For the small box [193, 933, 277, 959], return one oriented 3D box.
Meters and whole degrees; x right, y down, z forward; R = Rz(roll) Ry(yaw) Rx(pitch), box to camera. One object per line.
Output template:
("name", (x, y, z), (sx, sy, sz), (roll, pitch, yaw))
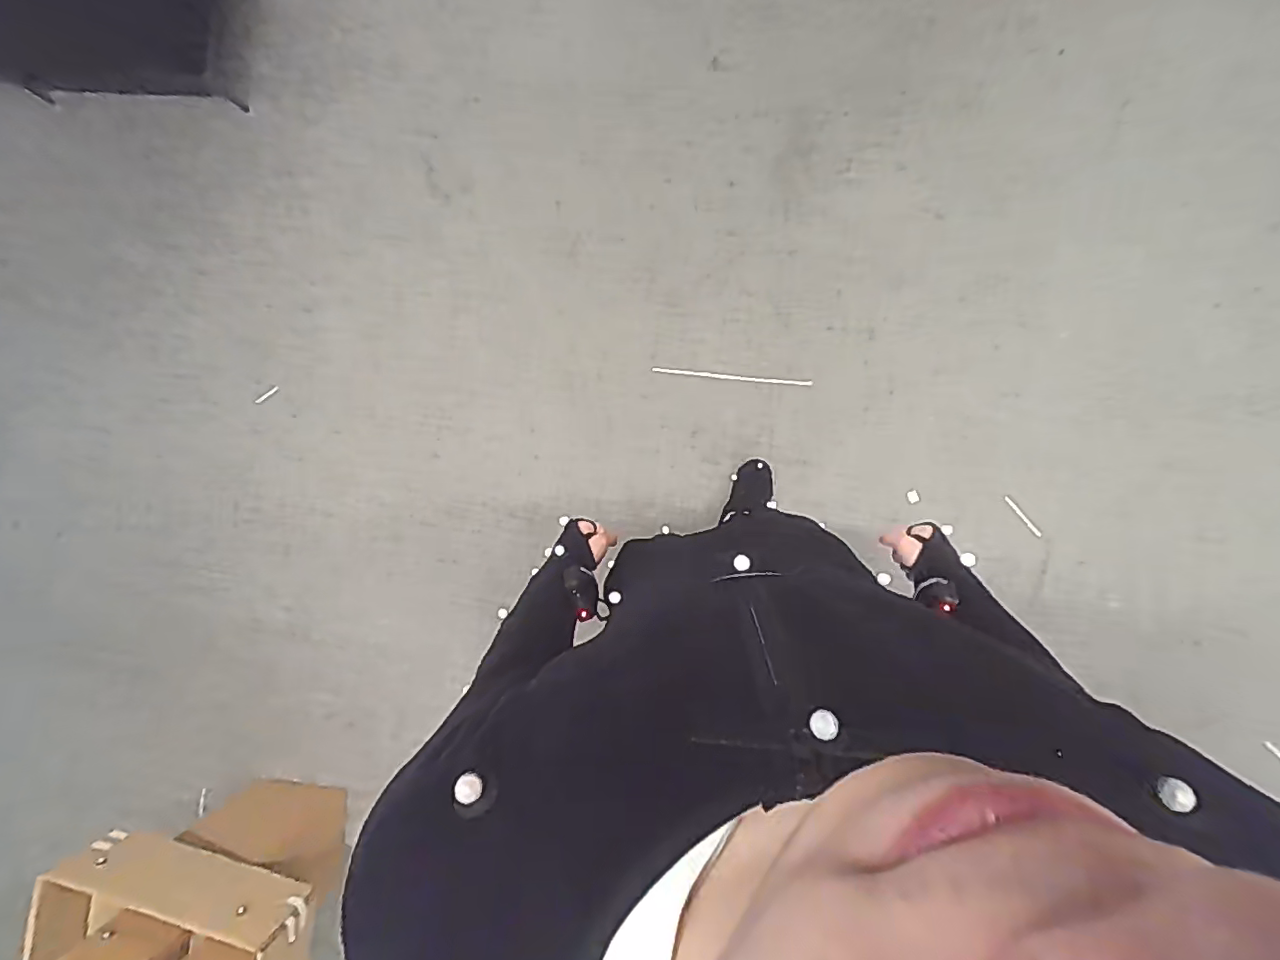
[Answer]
("small box", (-1.009, 1.238, 1.284), (0.179, 0.176, 0.168), (11, 90, 10))
